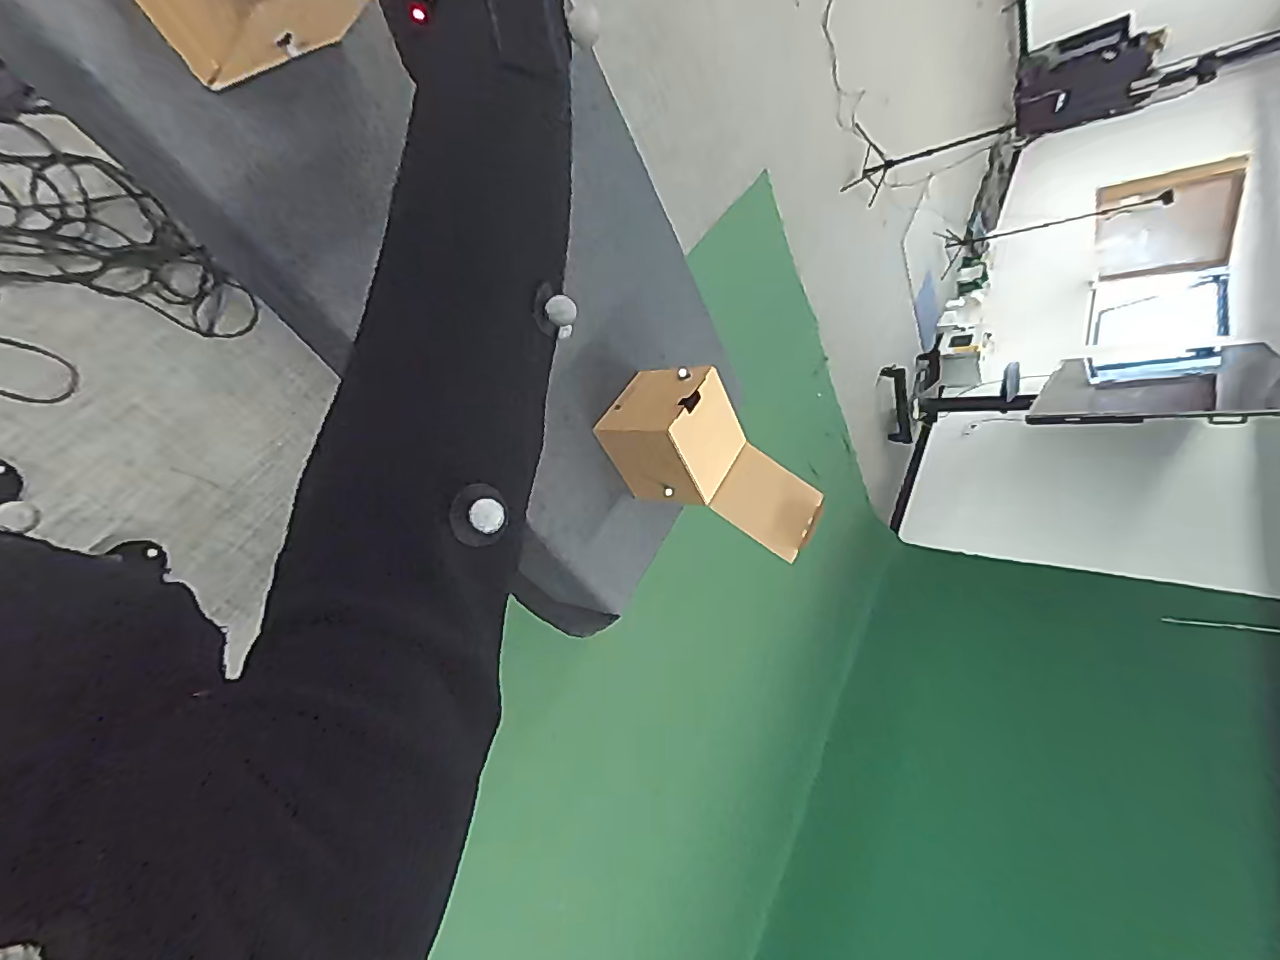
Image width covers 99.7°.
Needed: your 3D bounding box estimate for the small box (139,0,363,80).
[{"bbox_3d":[-0.347,-0.484,0.448,0.168,0.176,0.179,-56,132,-29],"label":"small box"}]
